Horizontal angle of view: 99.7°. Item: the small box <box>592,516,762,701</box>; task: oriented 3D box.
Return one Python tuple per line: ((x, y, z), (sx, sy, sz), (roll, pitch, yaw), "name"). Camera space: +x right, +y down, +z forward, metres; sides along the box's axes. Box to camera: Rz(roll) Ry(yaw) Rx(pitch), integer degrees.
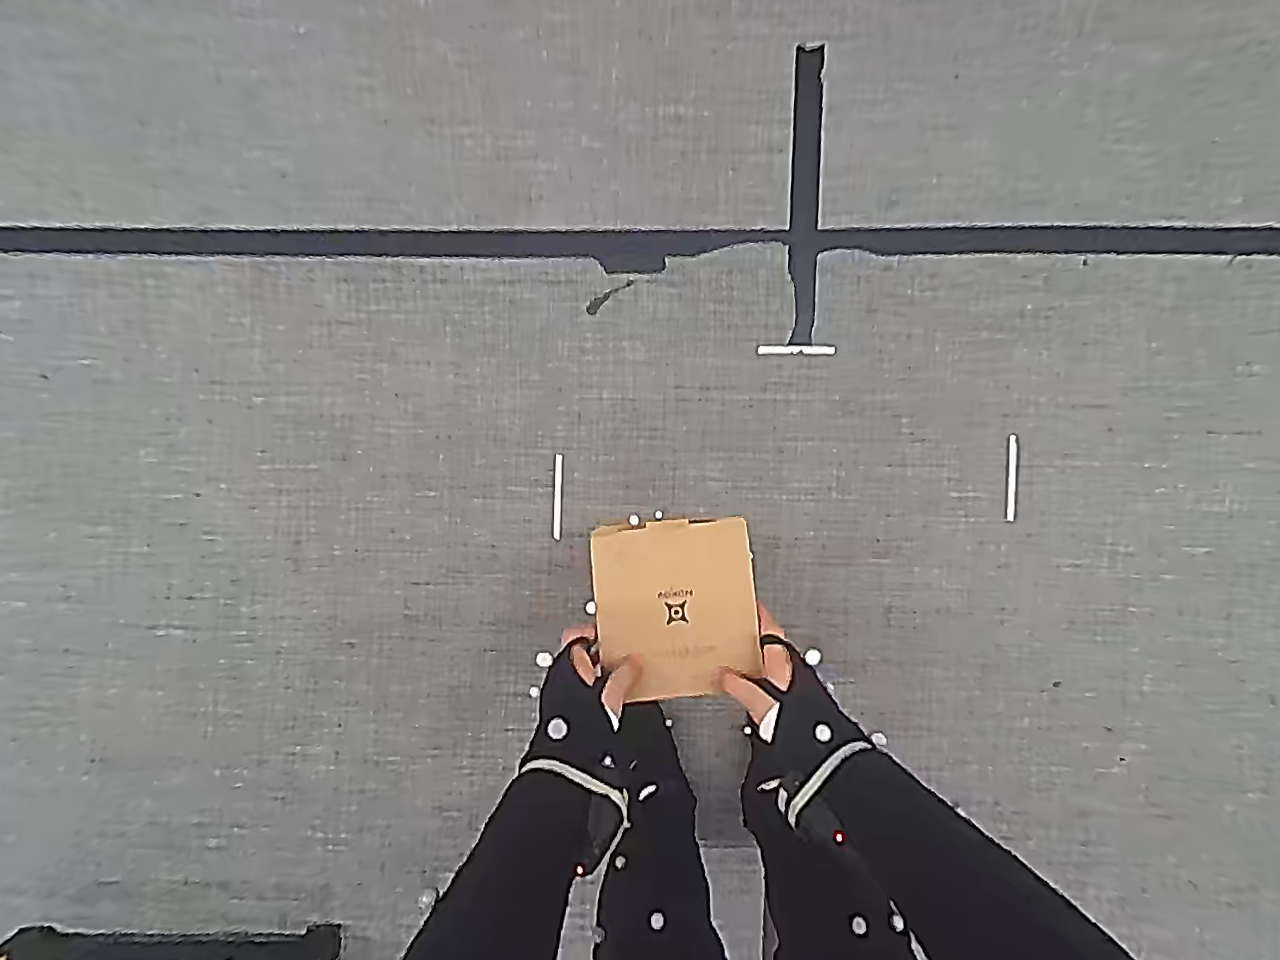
((0.036, 0.141, 0.637), (0.168, 0.176, 0.179), (-6, 84, 0), "small box")
